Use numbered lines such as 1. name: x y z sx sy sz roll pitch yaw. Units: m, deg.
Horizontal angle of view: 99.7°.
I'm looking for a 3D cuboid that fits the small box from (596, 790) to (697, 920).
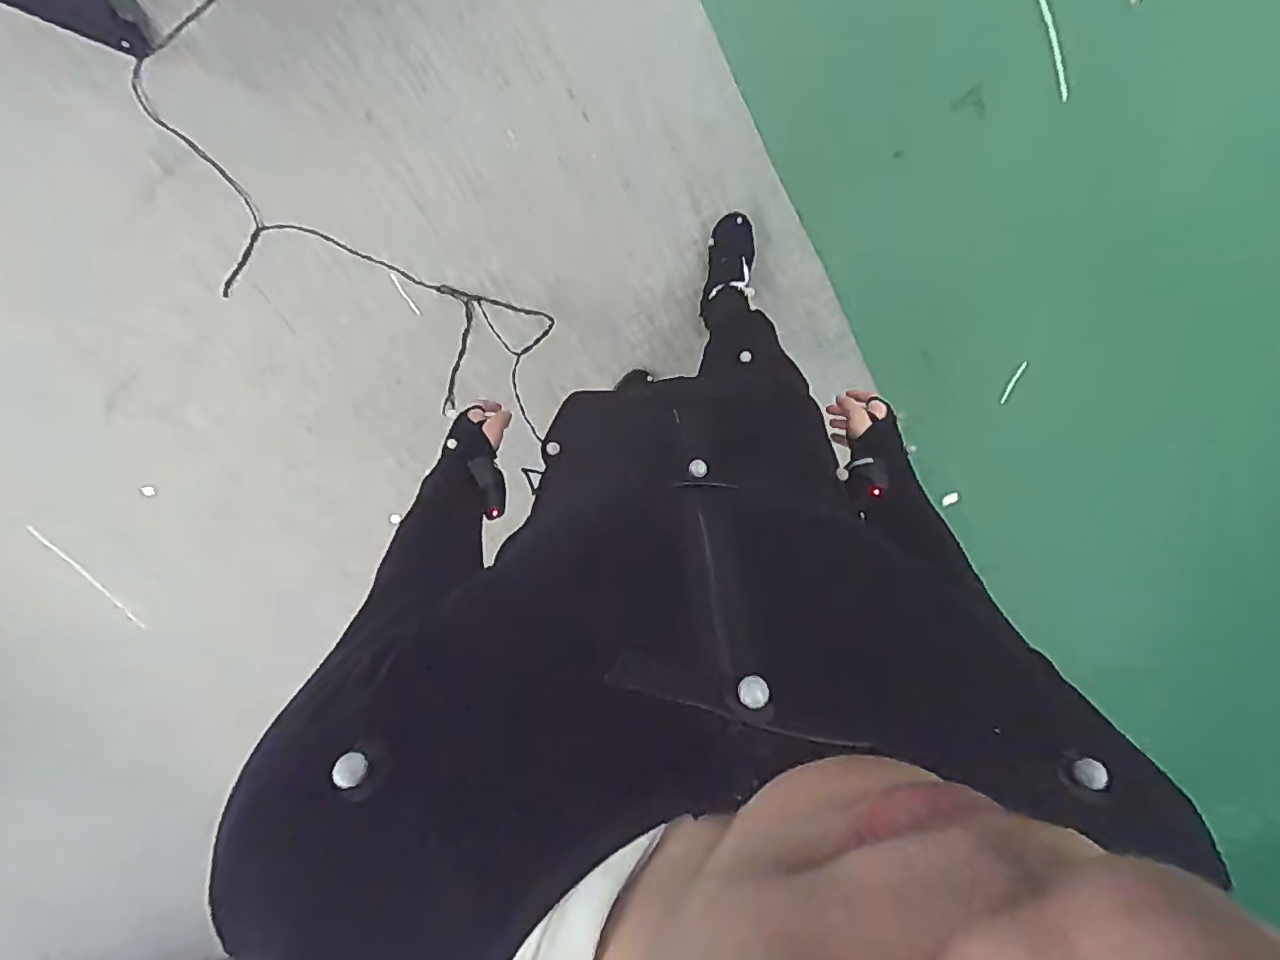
1. small box: 0.016 0.855 1.252 0.168 0.176 0.179 -27 107 11
